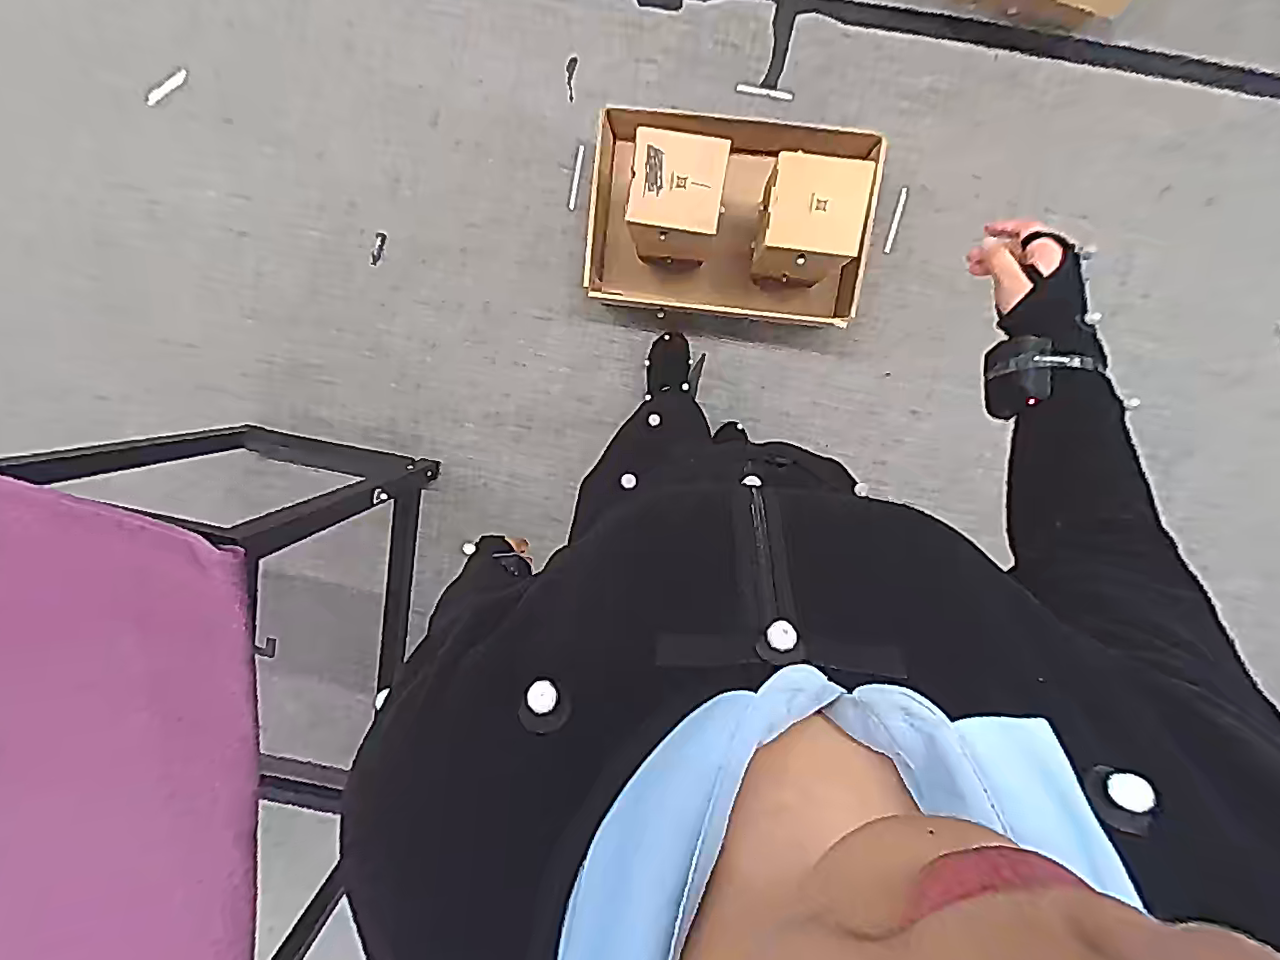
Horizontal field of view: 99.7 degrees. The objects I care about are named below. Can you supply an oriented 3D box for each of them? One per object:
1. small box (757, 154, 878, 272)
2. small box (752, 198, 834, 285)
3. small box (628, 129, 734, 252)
[{"bbox_3d":[0.342,-0.521,1.076,0.179,0.176,0.168,9,102,4],"label":"small box"},{"bbox_3d":[0.358,-0.554,1.235,0.168,0.176,0.179,9,101,2],"label":"small box"},{"bbox_3d":[0.078,-0.569,1.084,0.179,0.176,0.168,9,102,0],"label":"small box"}]
